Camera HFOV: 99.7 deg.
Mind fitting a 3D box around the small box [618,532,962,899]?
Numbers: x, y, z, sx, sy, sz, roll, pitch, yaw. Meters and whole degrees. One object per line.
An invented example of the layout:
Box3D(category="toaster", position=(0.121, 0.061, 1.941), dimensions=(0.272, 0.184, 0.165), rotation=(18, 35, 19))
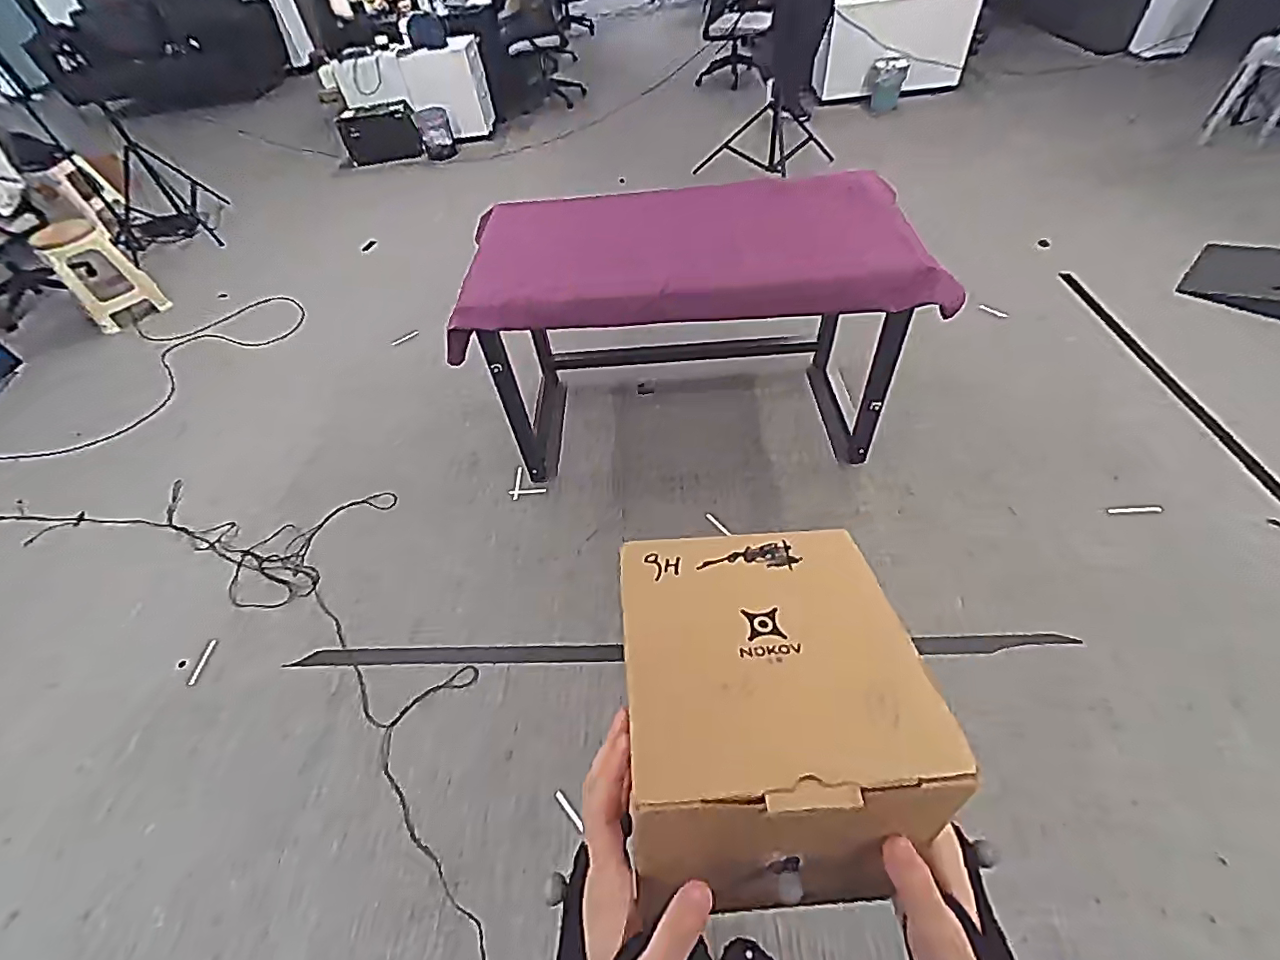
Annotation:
Box3D(category="small box", position=(0.072, 0.159, 0.370), dimensions=(0.168, 0.176, 0.179), rotation=(-3, 38, -3))
